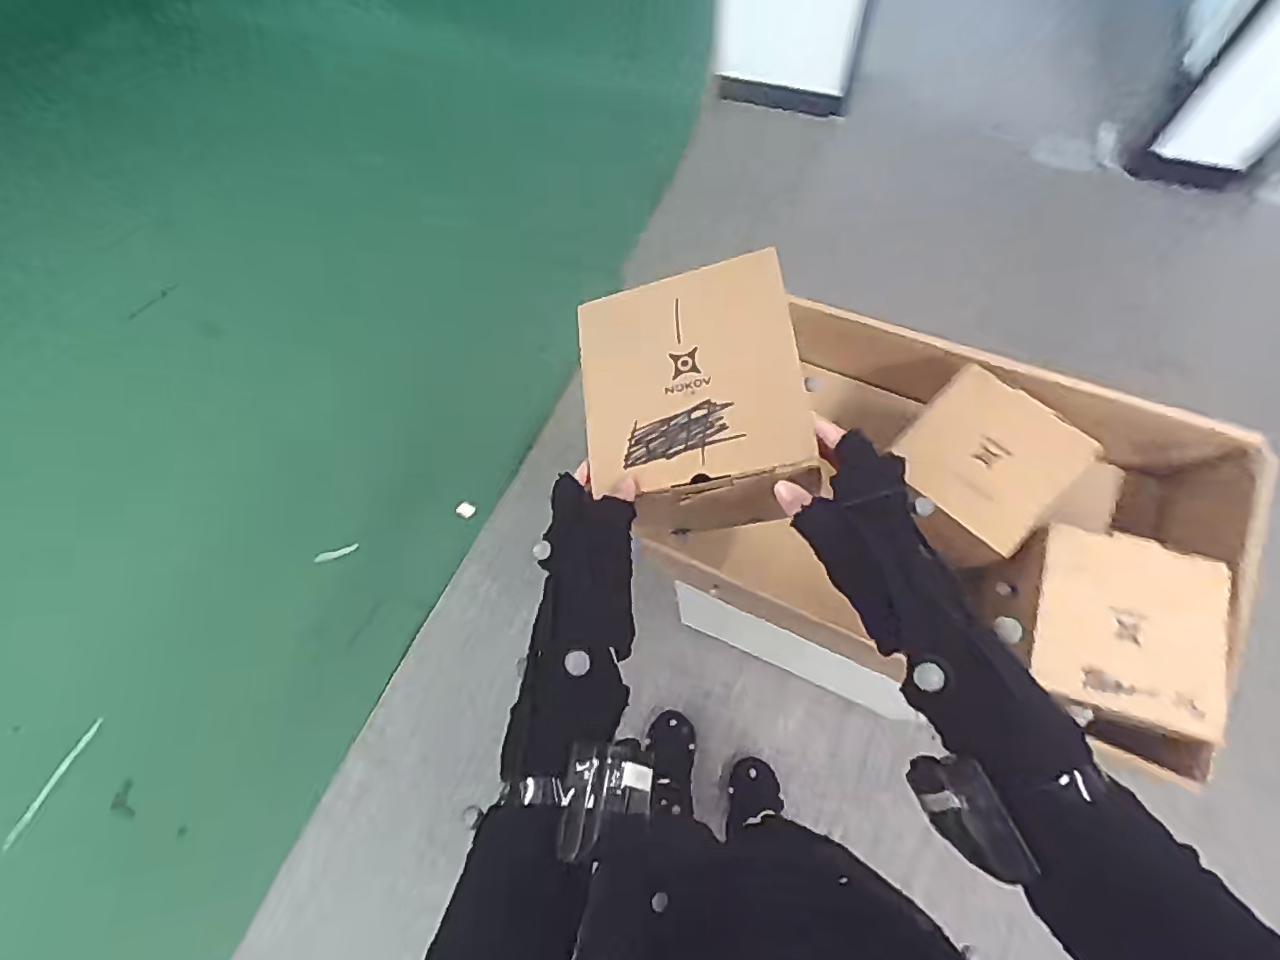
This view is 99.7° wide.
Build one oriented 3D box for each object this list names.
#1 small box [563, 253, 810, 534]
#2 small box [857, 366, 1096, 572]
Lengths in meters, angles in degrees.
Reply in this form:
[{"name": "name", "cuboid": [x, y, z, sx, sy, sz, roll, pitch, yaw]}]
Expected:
[{"name": "small box", "cuboid": [0.048, -0.054, 0.477, 0.168, 0.176, 0.179, -13, 72, 16]}, {"name": "small box", "cuboid": [0.407, -0.004, 0.694, 0.179, 0.176, 0.168, -46, 71, -6]}]
